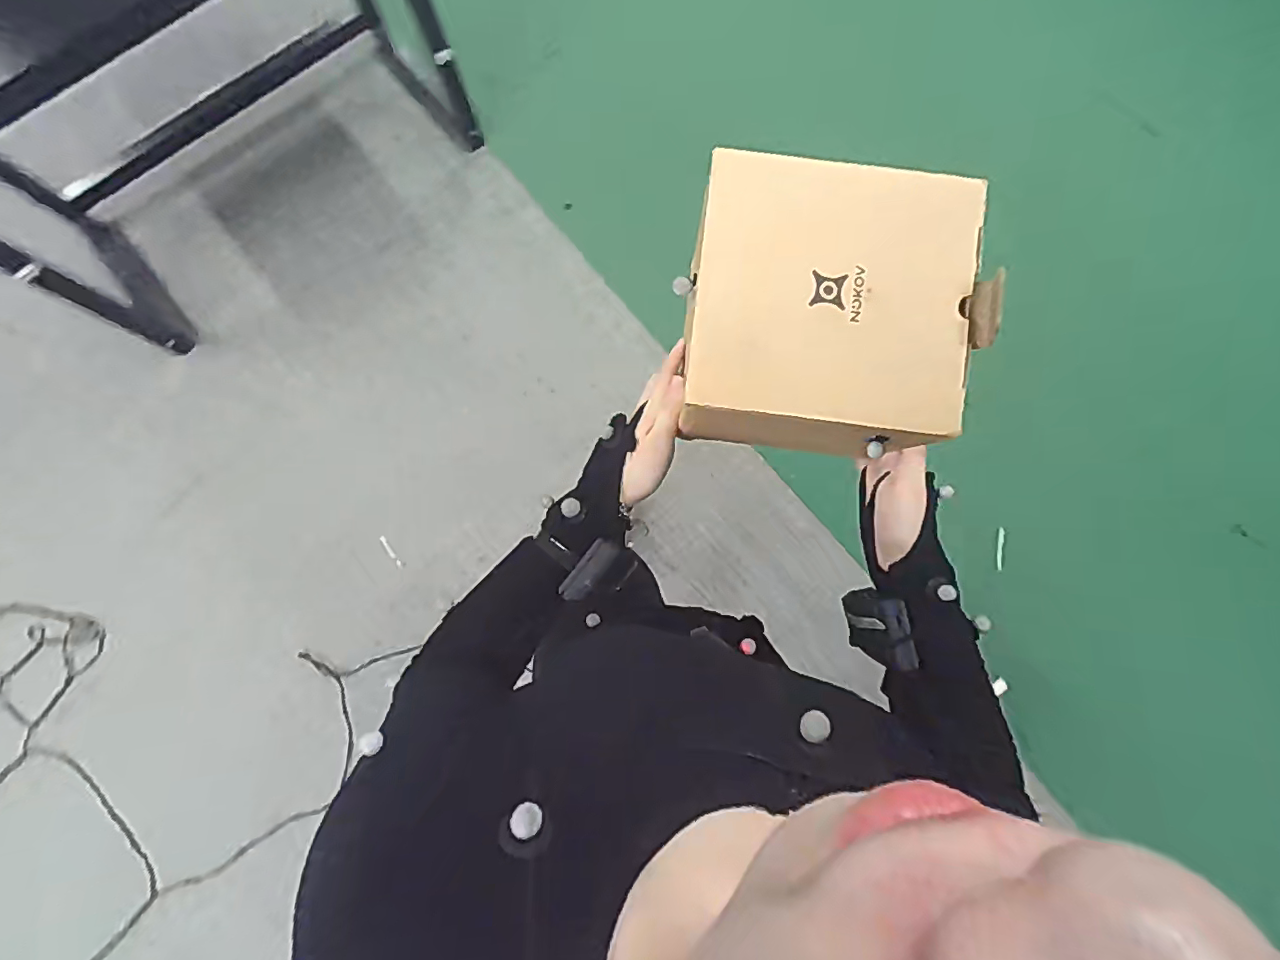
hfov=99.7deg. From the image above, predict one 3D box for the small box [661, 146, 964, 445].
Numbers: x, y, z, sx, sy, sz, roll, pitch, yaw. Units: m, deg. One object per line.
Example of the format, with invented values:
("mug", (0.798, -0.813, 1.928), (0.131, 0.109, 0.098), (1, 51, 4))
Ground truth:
("small box", (0.110, -0.120, 0.418), (0.179, 0.176, 0.168), (6, 89, 0))
